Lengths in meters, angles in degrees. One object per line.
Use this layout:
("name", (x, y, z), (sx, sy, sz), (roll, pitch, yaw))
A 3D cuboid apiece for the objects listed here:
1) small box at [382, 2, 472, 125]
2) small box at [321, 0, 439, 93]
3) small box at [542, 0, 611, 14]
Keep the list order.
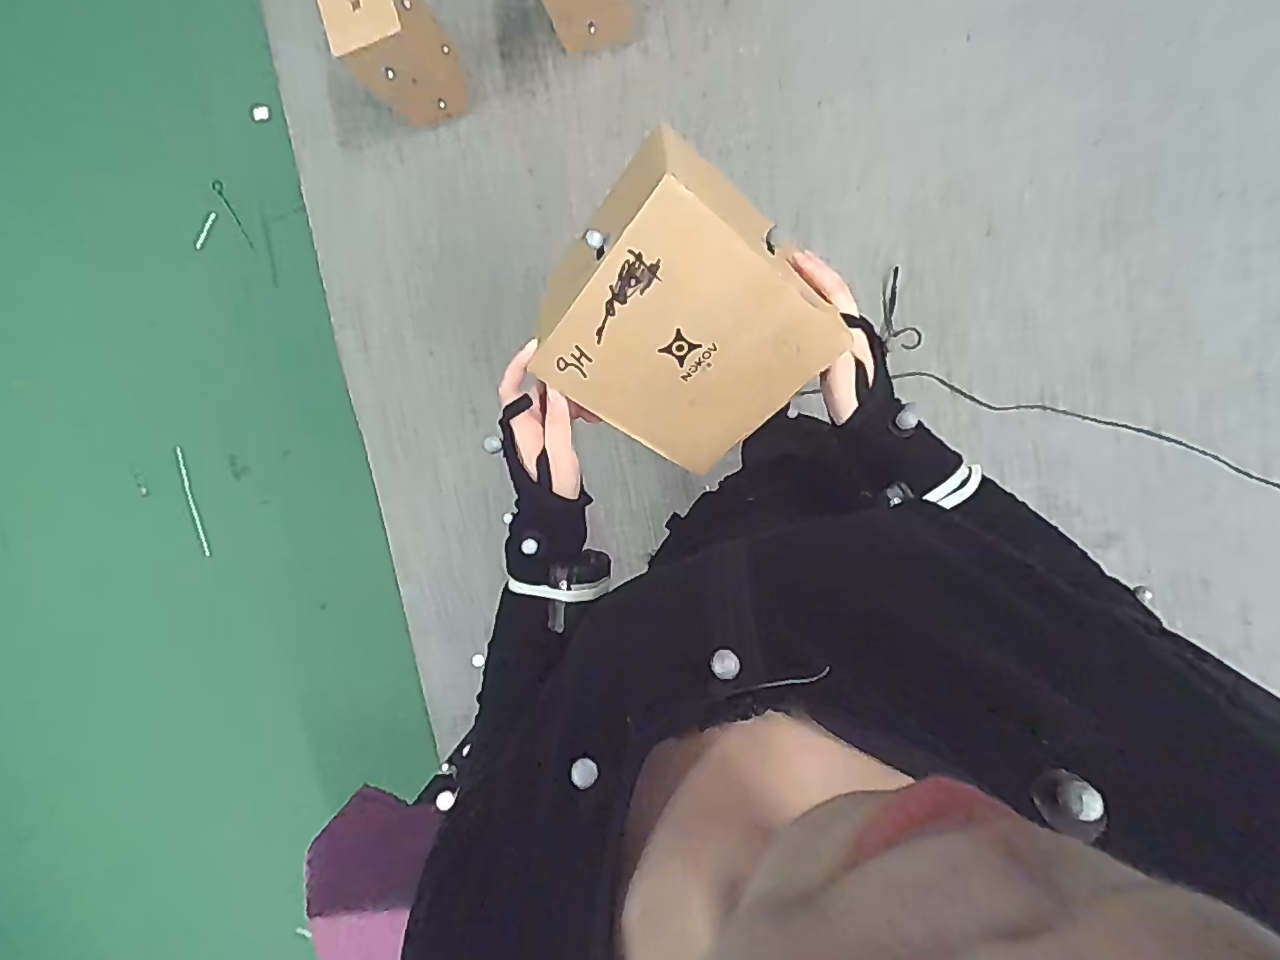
("small box", (-0.550, -1.037, 1.371), (0.168, 0.176, 0.179), (-10, 96, 10))
("small box", (-0.577, -1.011, 1.211), (0.168, 0.176, 0.179), (-12, 96, 10))
("small box", (-0.147, -1.124, 1.123), (0.179, 0.176, 0.168), (-5, 97, 10))
